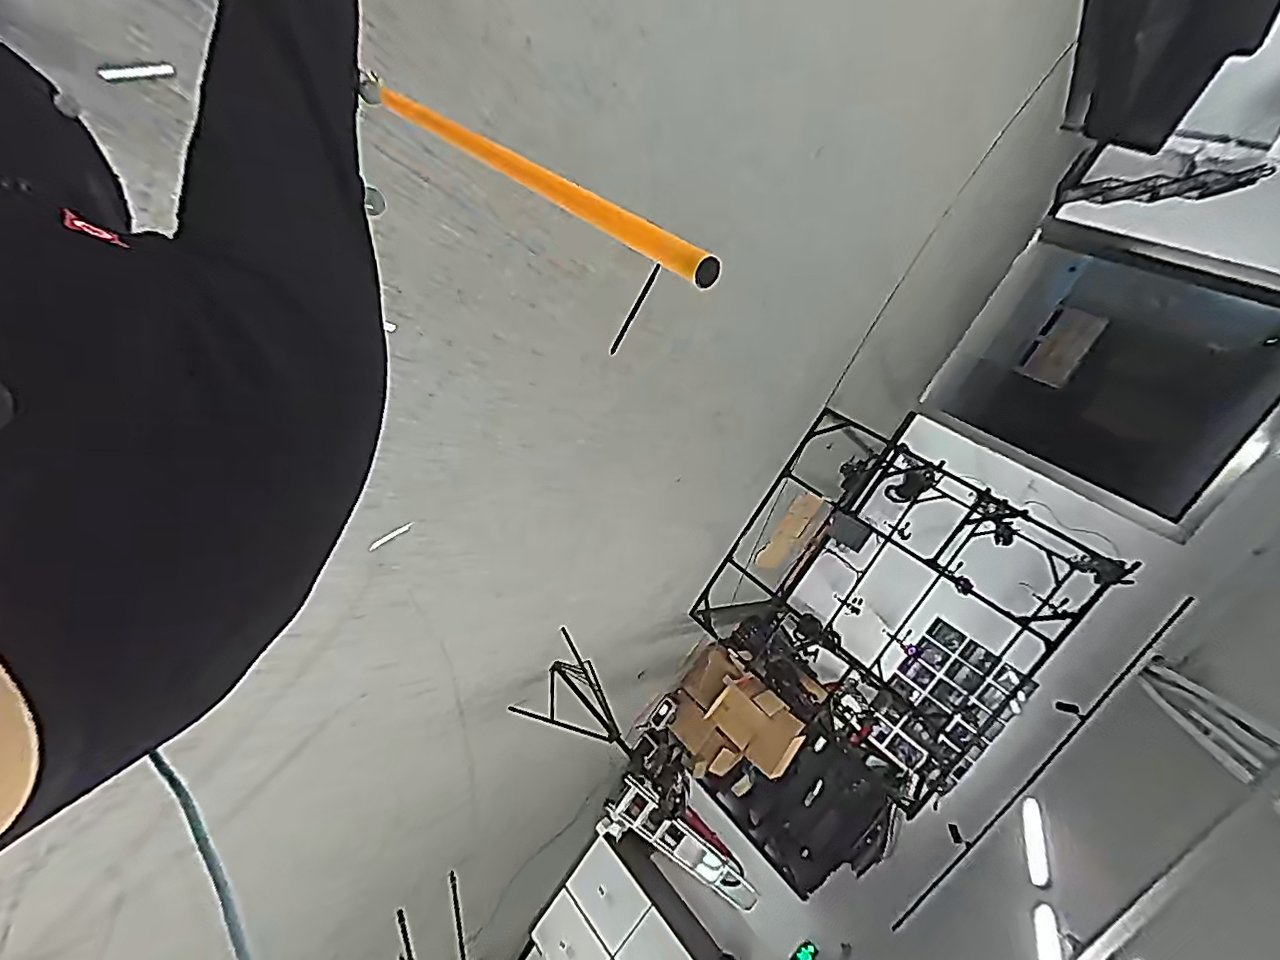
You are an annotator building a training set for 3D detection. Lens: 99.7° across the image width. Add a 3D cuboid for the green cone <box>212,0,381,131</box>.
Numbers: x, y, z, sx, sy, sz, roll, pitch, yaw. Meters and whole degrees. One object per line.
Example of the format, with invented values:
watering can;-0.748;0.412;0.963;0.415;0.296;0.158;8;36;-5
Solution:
green cone;-0.575;-0.746;0.977;0.200;0.368;0.202;-57;150;8
